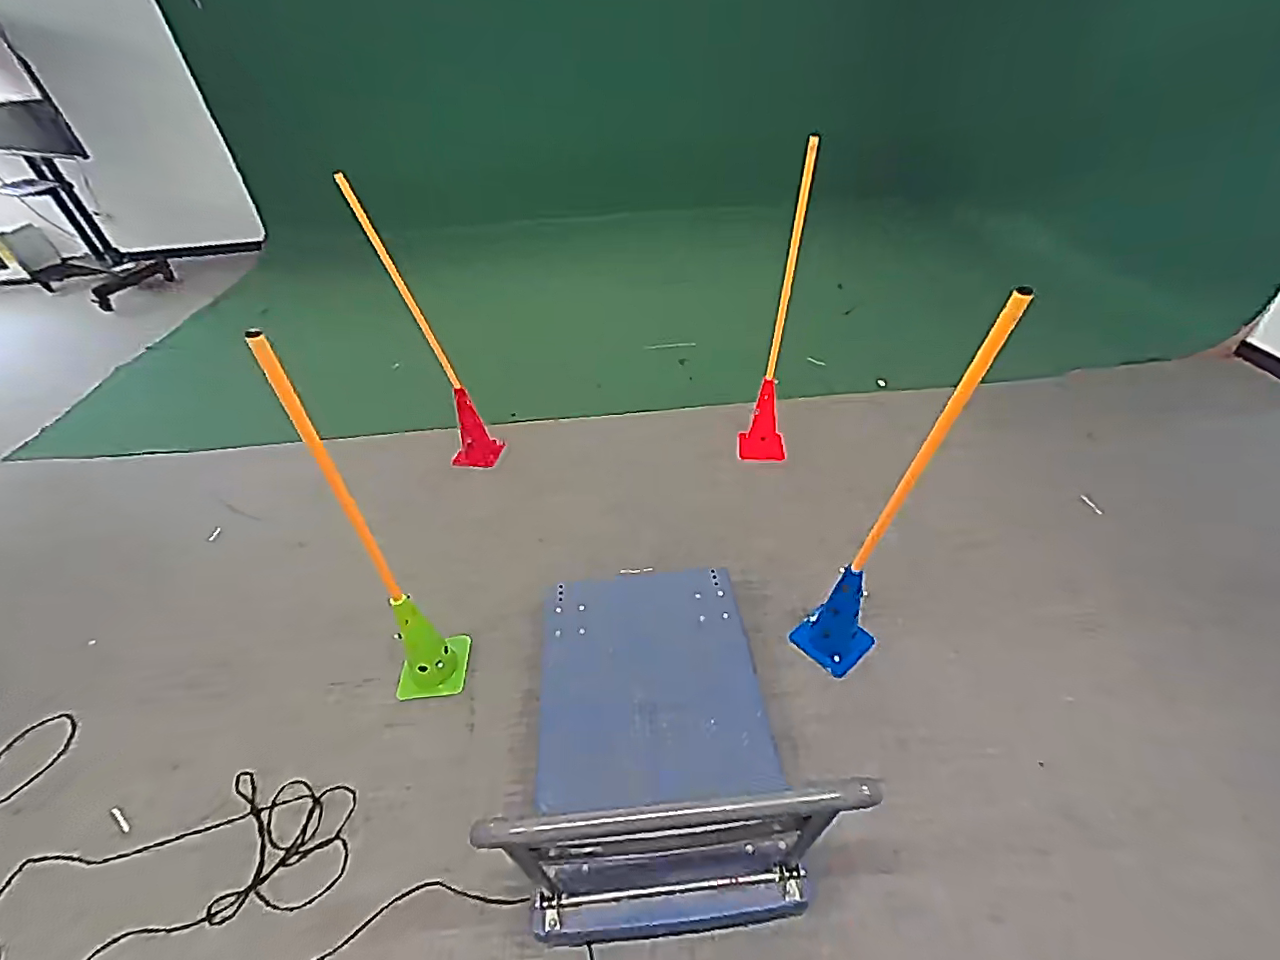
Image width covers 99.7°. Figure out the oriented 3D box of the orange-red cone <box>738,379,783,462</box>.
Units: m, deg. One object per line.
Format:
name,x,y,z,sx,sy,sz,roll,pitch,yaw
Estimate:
orange-red cone,0.528,-0.272,2.320,0.198,0.360,0.199,2,42,8
